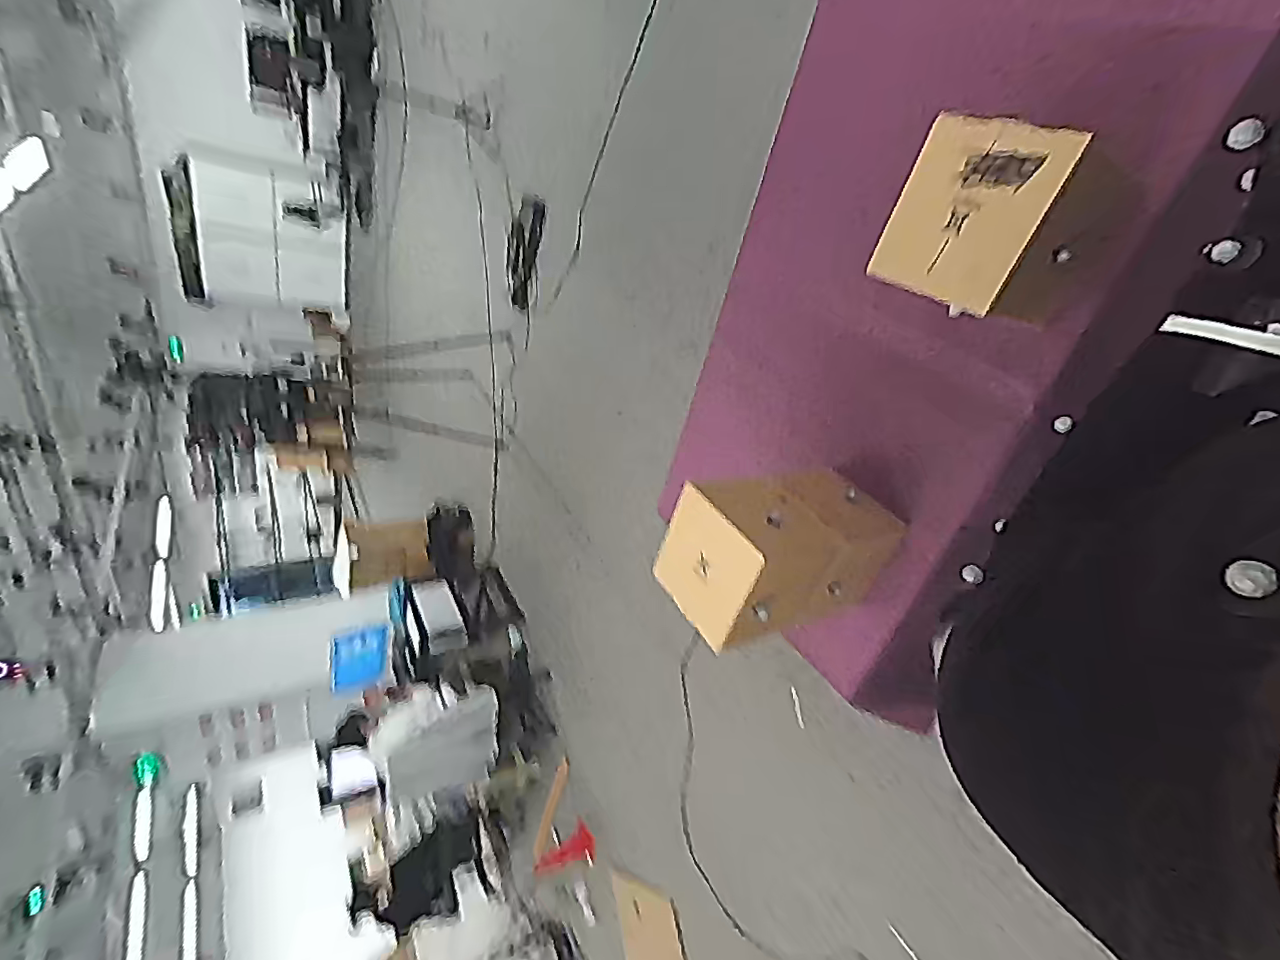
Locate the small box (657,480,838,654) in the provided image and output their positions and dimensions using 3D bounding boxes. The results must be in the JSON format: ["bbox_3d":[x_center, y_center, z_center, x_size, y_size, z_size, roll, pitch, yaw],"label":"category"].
[{"bbox_3d":[0.156,0.114,0.786,0.168,0.176,0.179,47,131,41],"label":"small box"}]

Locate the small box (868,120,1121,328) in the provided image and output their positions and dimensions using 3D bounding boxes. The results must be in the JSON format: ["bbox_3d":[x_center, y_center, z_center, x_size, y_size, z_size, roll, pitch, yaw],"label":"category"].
[{"bbox_3d":[0.420,-0.297,0.645,0.168,0.176,0.179,47,131,41],"label":"small box"}]
